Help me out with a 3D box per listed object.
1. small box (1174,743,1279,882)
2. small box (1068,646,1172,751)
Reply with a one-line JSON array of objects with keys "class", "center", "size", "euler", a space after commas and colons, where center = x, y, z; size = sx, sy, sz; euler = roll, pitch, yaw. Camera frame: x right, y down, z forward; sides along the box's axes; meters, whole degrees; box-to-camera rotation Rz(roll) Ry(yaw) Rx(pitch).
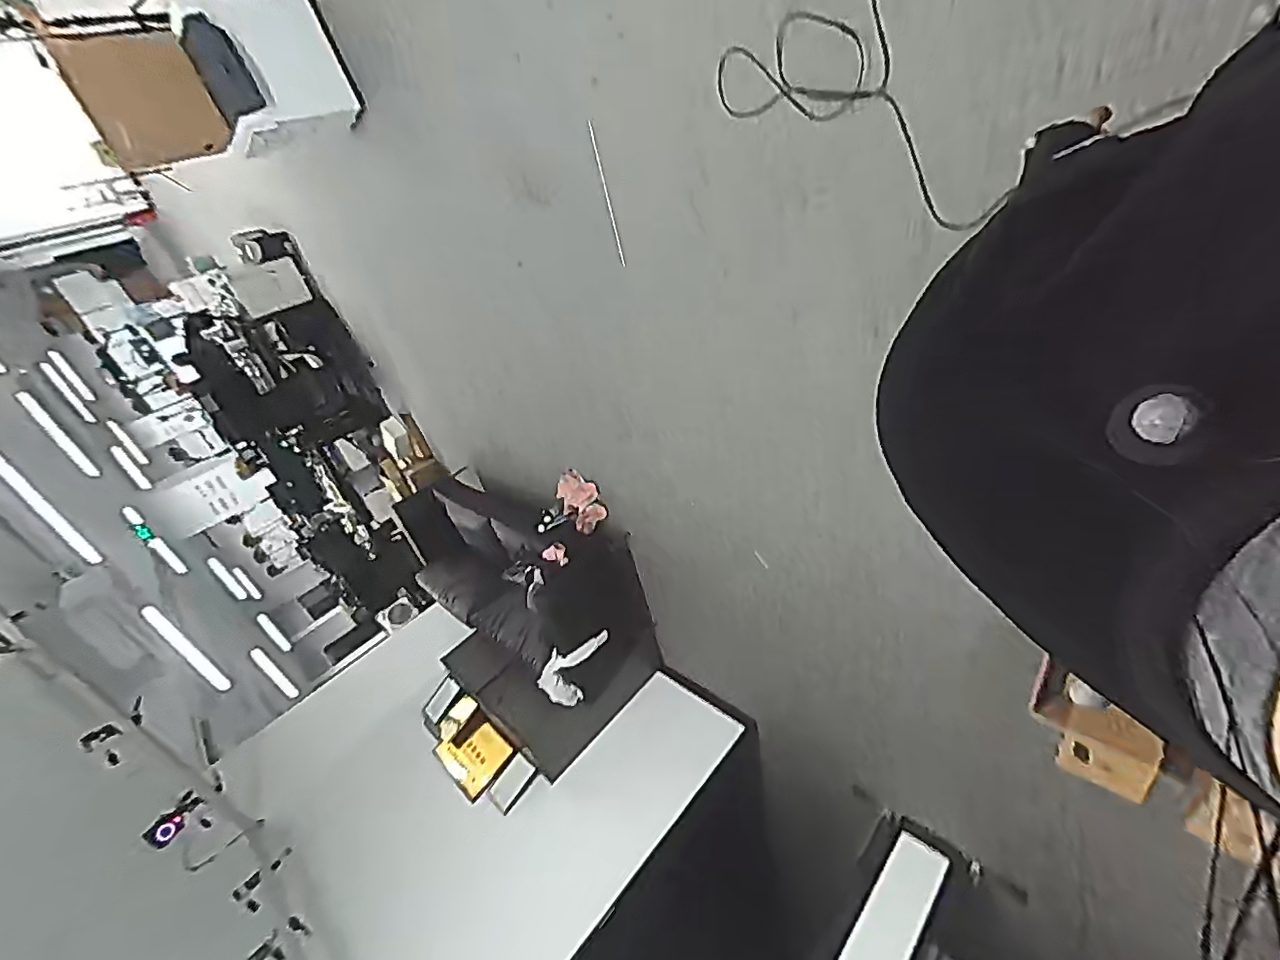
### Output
[{"class": "small box", "center": [1.371, 0.749, 1.230], "size": [0.168, 0.176, 0.179], "euler": [22, 136, 40]}, {"class": "small box", "center": [1.307, 0.585, 1.472], "size": [0.179, 0.176, 0.168], "euler": [17, 132, 41]}]
